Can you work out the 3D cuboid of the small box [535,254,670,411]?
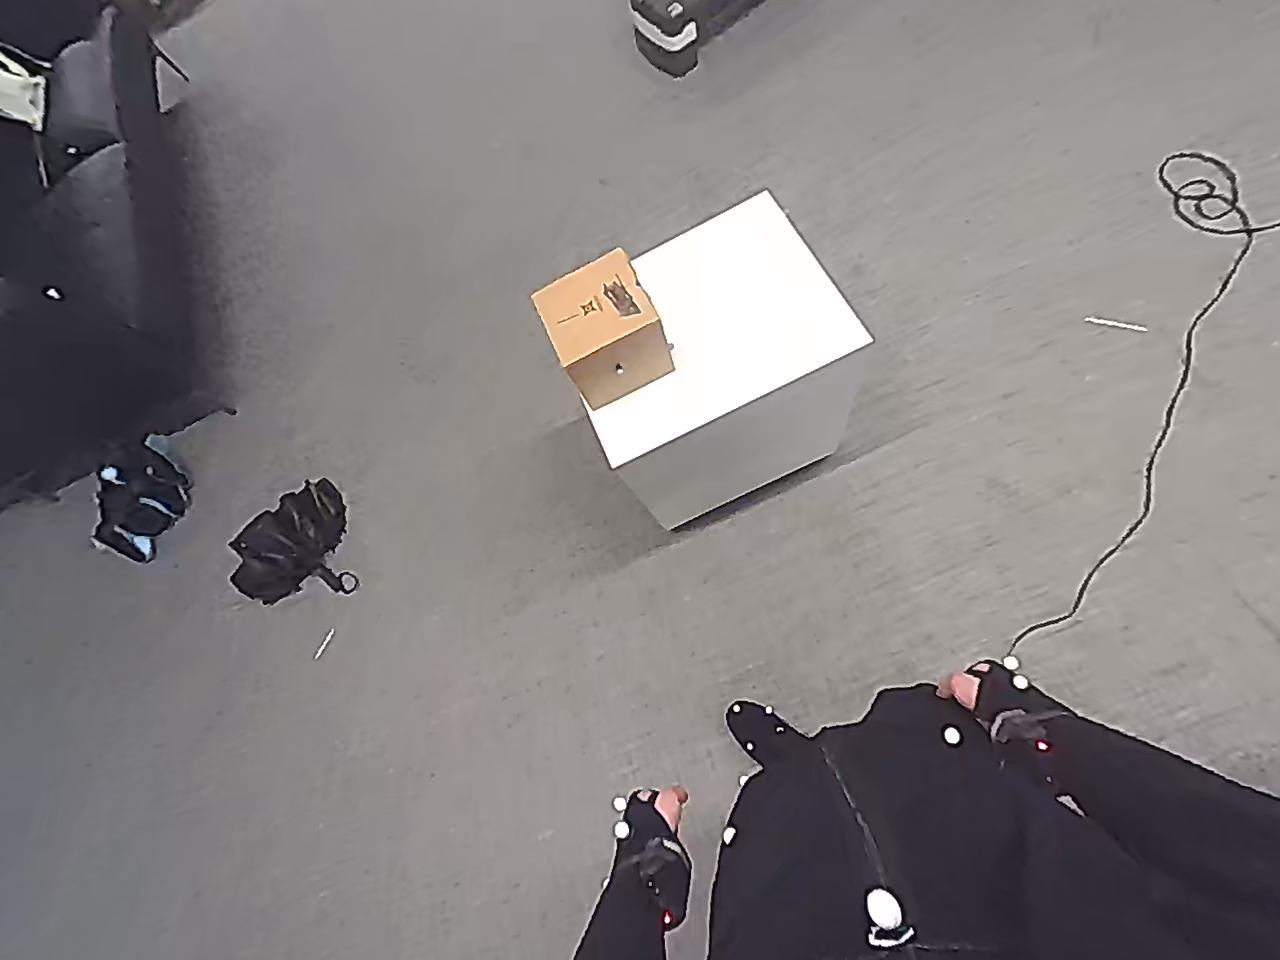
[{"bbox_3d":[-0.056,-0.253,0.961,0.179,0.176,0.168,-27,68,4],"label":"small box"}]
